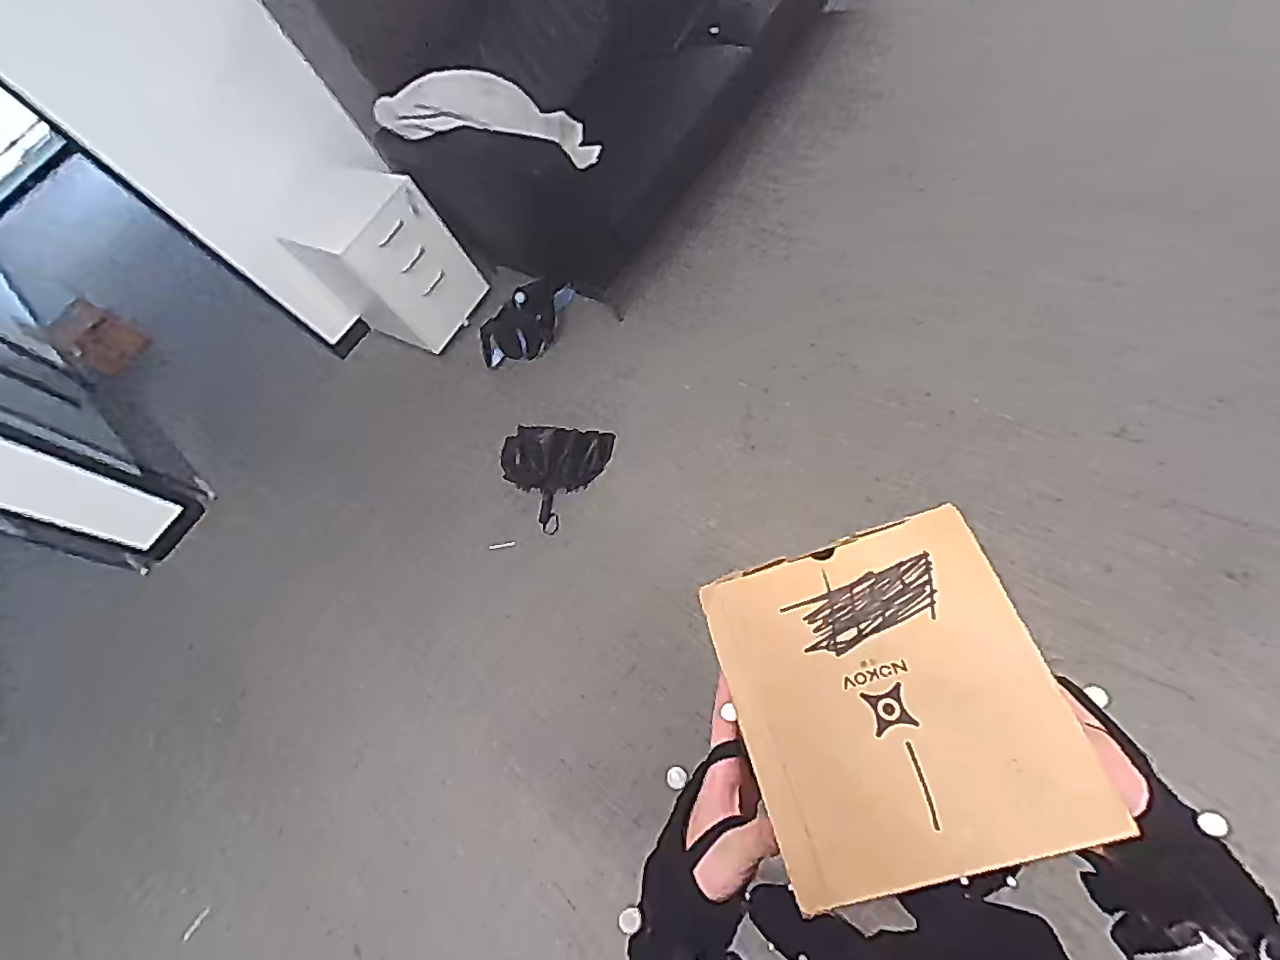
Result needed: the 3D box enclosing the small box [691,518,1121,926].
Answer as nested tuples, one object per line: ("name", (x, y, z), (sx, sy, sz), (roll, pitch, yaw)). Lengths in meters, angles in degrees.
("small box", (0.148, 0.153, 0.369), (0.168, 0.176, 0.179), (-21, 64, 8))
